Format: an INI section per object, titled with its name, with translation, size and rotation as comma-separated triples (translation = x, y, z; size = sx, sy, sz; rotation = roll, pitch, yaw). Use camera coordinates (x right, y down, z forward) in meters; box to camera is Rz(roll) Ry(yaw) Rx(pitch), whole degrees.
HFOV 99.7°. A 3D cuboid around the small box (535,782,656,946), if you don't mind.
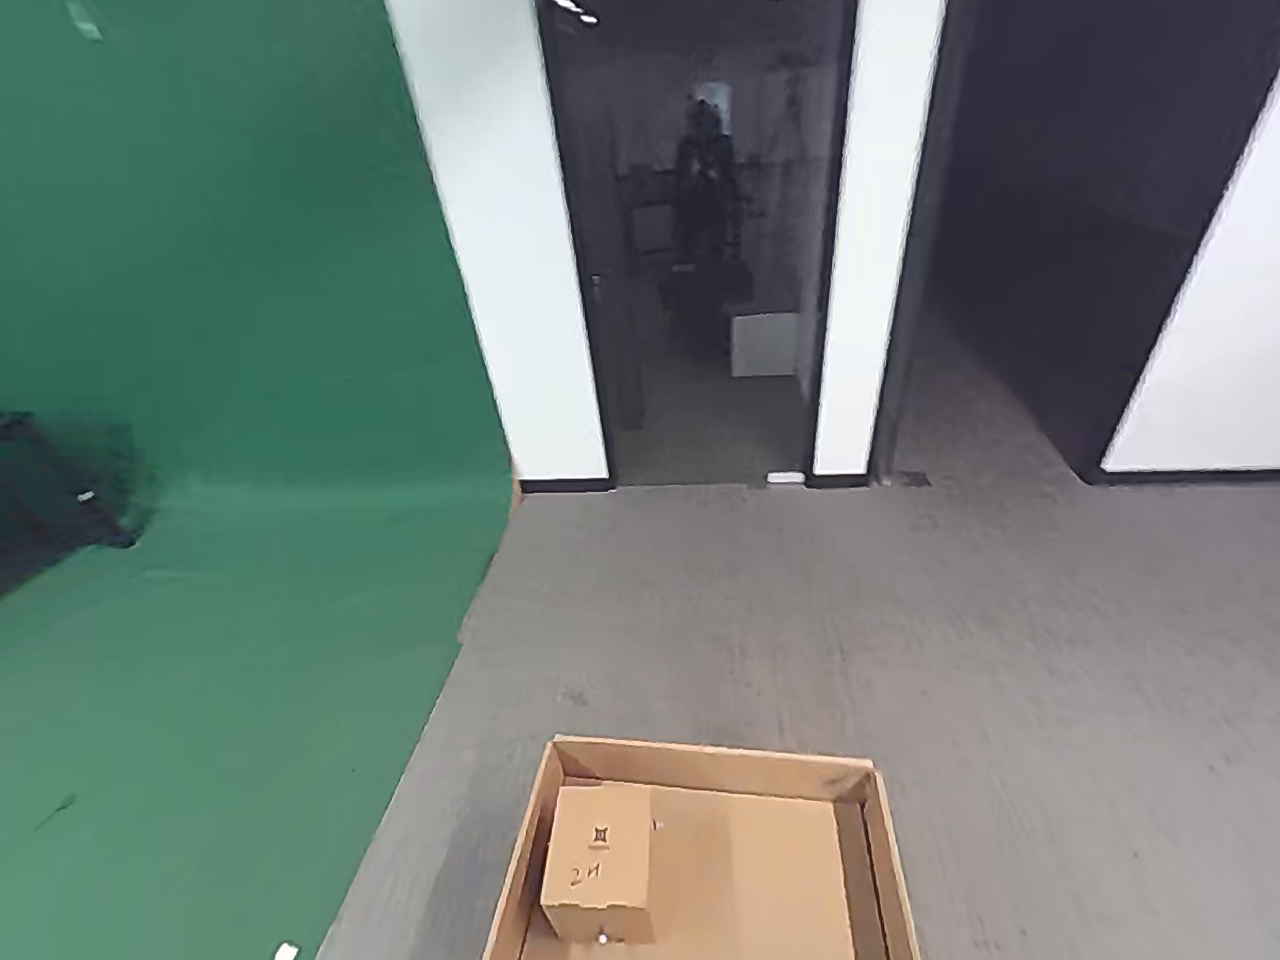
[small box]
translation = -0.064, 0.643, 0.912
size = 0.168, 0.176, 0.179
rotation = -3, 34, 7
